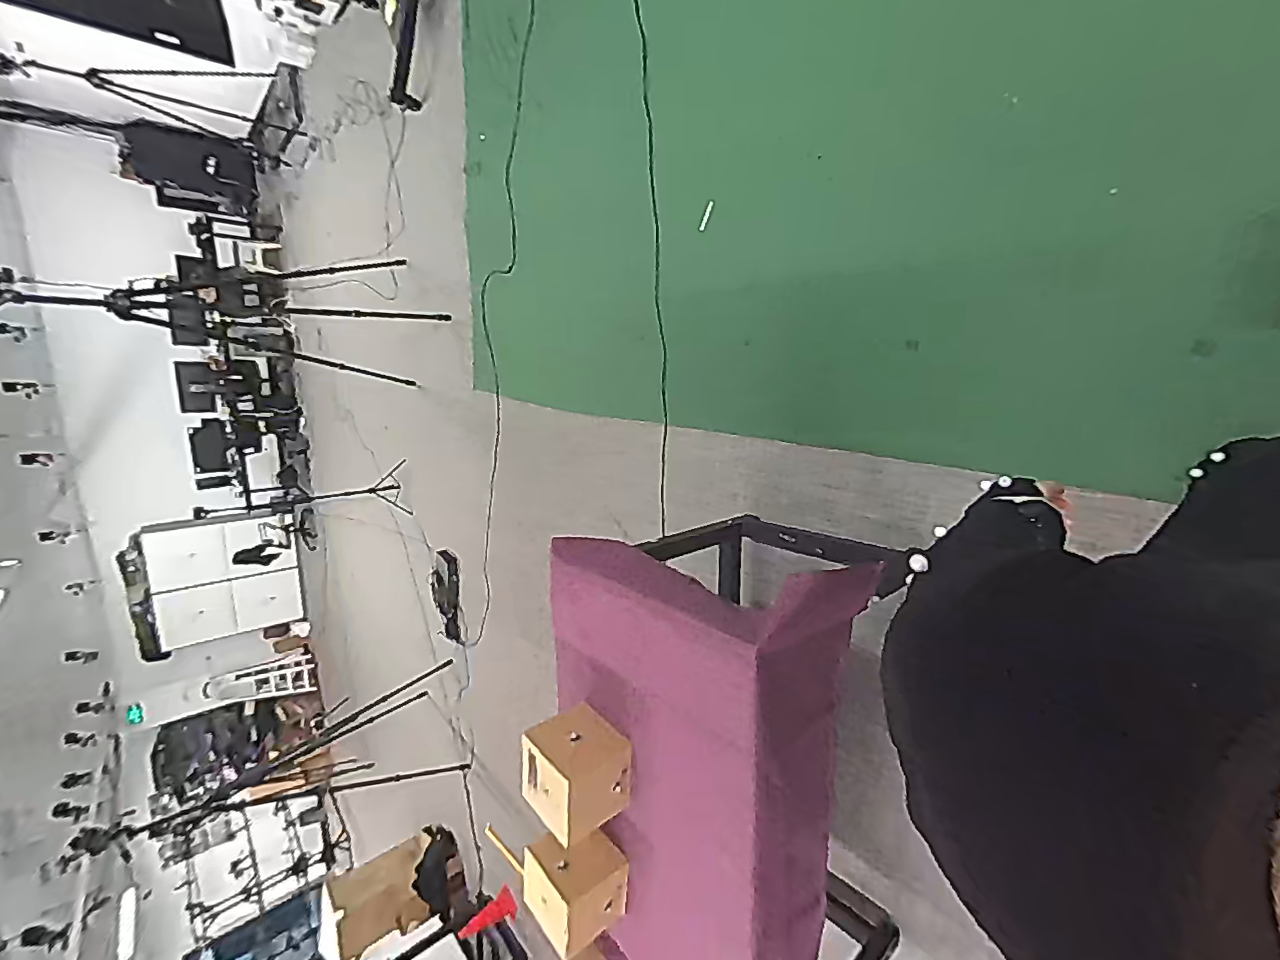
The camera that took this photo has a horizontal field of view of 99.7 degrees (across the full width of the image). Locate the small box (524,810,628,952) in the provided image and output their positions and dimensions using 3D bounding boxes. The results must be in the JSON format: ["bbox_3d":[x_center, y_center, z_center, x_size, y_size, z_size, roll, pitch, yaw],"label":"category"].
[{"bbox_3d":[-0.150,0.907,1.249,0.179,0.176,0.168,21,113,44],"label":"small box"}]
